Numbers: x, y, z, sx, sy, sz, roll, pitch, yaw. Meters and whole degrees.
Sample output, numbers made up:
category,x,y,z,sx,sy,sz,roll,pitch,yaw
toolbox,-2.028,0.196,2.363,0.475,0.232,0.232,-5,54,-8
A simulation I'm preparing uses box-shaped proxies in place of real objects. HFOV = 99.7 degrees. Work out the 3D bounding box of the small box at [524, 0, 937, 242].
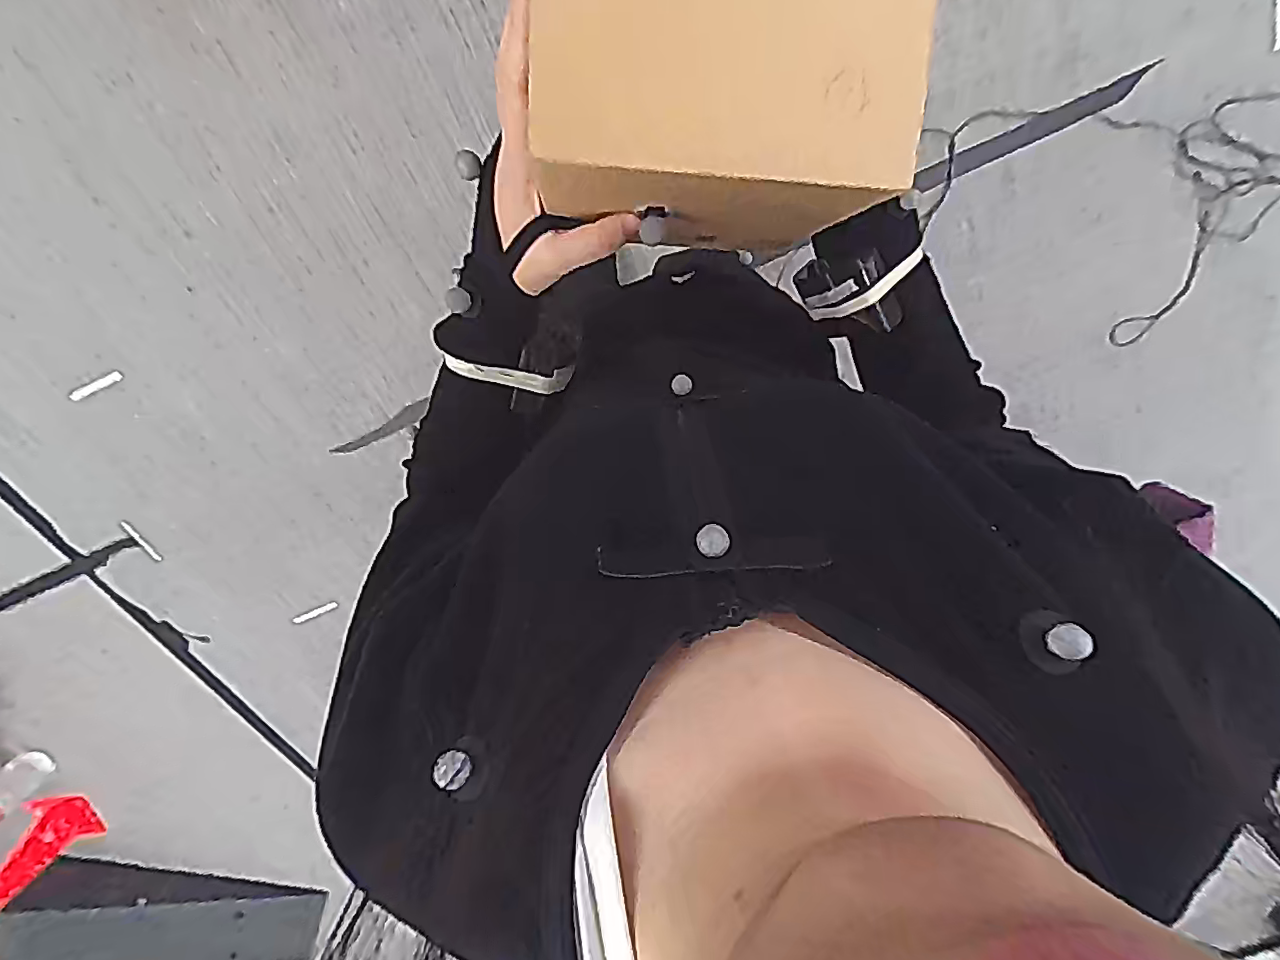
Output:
category,x,y,z,sx,sy,sz,roll,pitch,yaw
small box,0.033,-0.234,0.283,0.168,0.176,0.179,1,103,-6
